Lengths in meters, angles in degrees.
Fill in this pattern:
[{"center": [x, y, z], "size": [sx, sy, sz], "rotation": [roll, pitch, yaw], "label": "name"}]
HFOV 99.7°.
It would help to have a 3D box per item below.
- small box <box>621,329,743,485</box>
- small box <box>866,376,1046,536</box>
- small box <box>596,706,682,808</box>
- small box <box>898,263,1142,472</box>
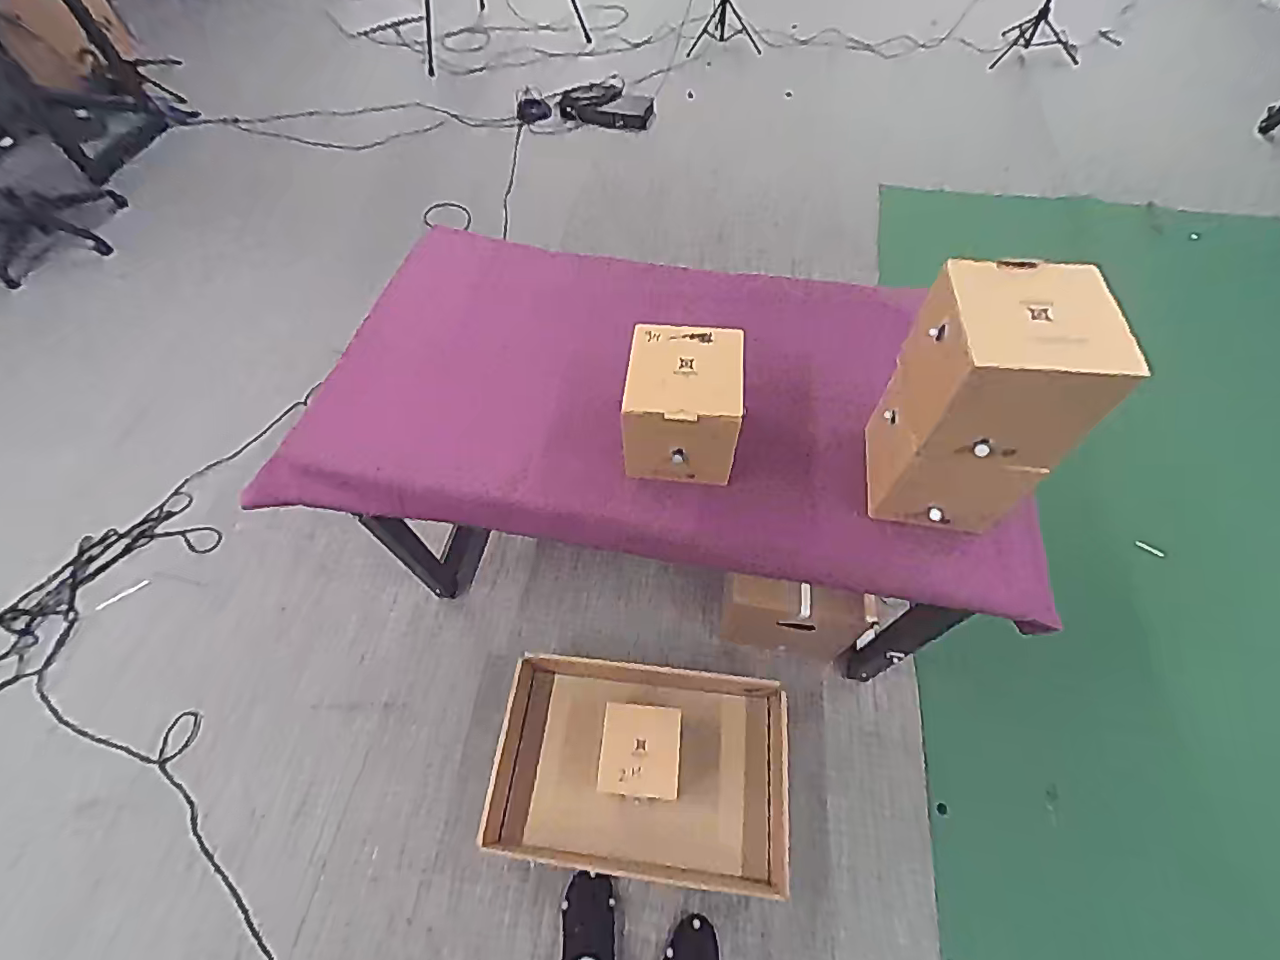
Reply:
[{"center": [0.067, -0.109, 0.842], "size": [0.168, 0.176, 0.179], "rotation": [5, 57, 5], "label": "small box"}, {"center": [0.439, -0.042, 0.787], "size": [0.168, 0.176, 0.179], "rotation": [8, 58, 8], "label": "small box"}, {"center": [0.002, 0.611, 1.188], "size": [0.168, 0.176, 0.179], "rotation": [4, 59, 5], "label": "small box"}, {"center": [0.429, -0.133, 0.652], "size": [0.168, 0.176, 0.179], "rotation": [5, 57, 7], "label": "small box"}]
